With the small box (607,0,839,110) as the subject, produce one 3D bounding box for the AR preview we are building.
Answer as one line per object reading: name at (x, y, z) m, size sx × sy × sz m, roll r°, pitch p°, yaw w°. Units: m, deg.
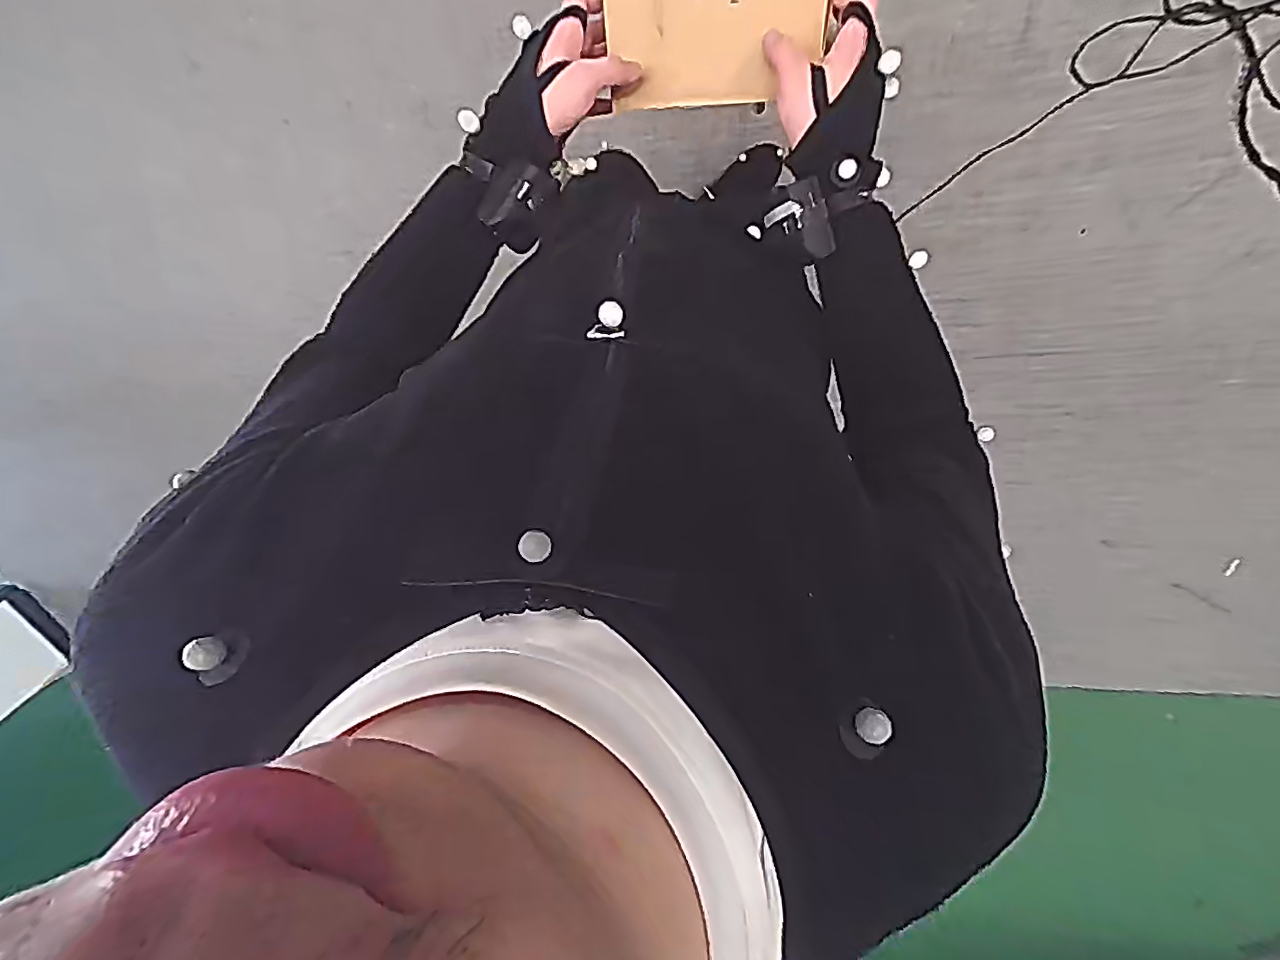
small box at (0.068, -0.420, 0.457) m, size 0.179 × 0.176 × 0.168 m, roll 2°, pitch 128°, yaw 6°
